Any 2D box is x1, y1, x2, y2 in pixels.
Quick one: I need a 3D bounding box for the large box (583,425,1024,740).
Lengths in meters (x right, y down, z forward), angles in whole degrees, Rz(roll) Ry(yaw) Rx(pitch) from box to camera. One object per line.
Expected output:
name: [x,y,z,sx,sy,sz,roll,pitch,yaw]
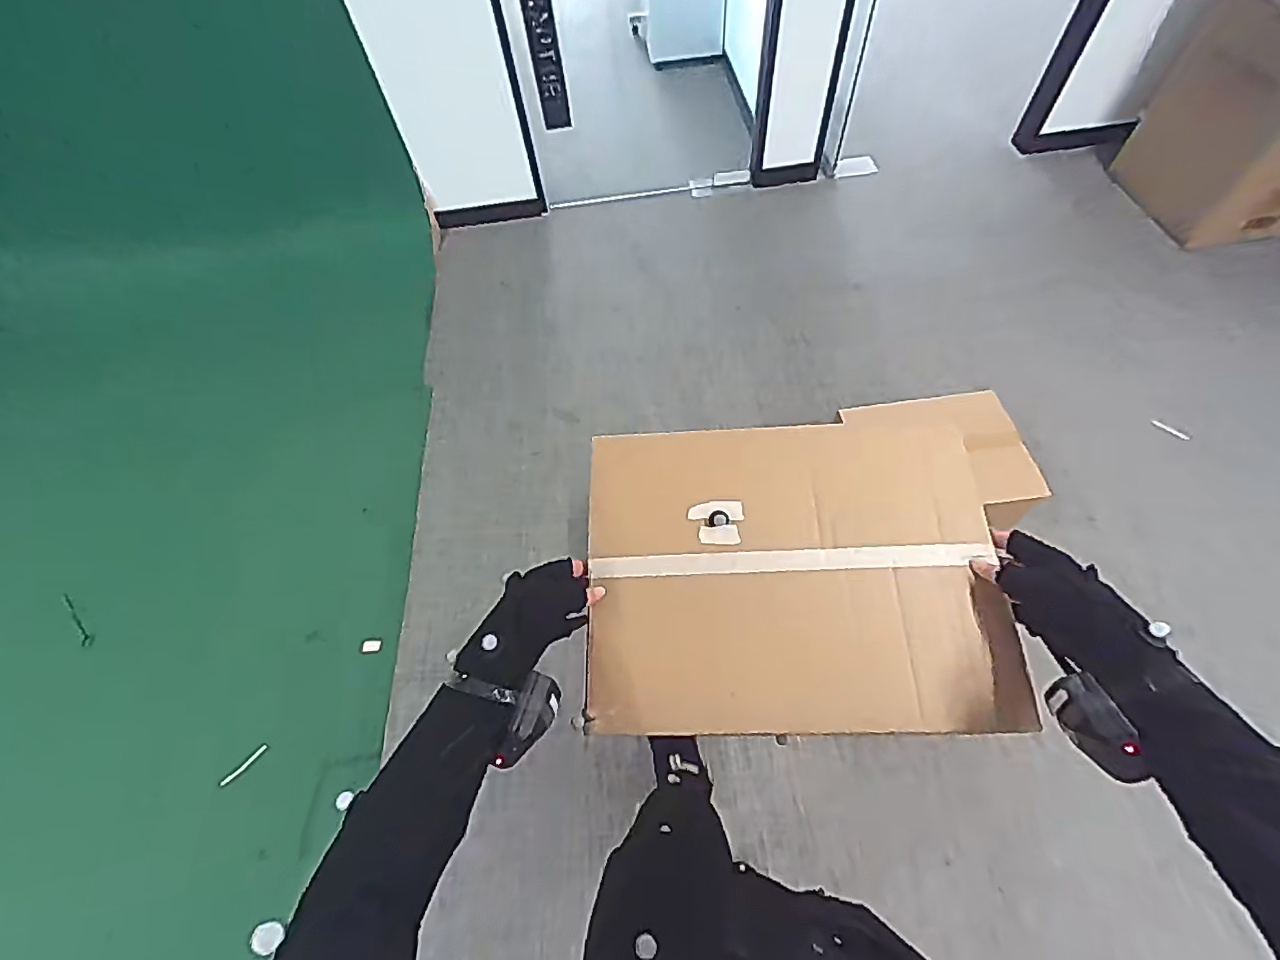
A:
large box: [0.158,0.149,0.686,0.408,0.320,0.320,-3,66,5]
